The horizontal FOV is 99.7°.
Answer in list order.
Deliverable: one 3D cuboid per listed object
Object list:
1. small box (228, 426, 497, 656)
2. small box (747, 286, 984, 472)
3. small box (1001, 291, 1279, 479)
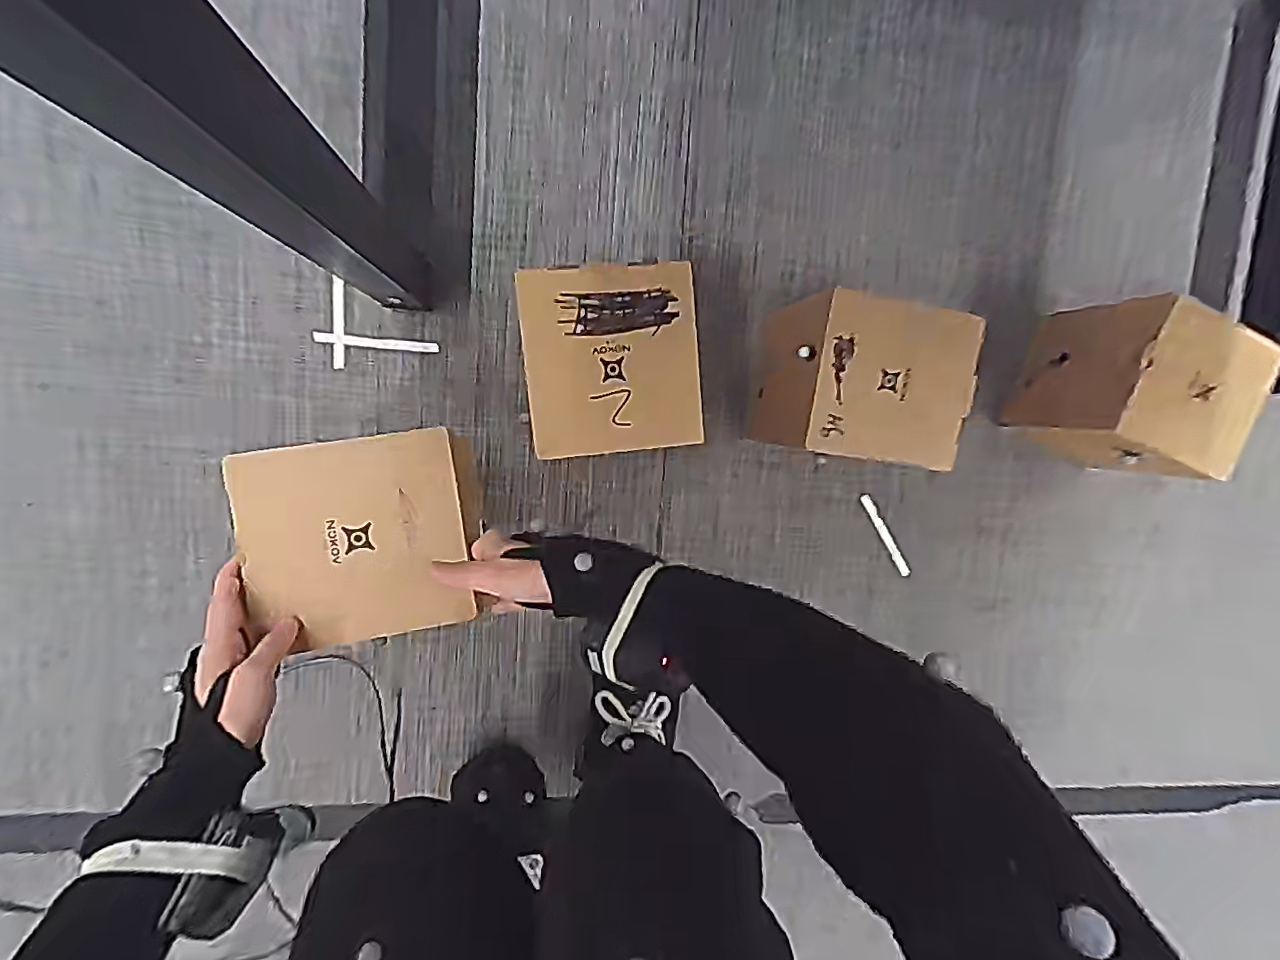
[{"bbox_3d":[-0.245,0.051,0.522,0.179,0.176,0.168,-10,90,-11],"label":"small box"},{"bbox_3d":[0.246,-0.111,0.630,0.179,0.176,0.168,7,96,-10],"label":"small box"},{"bbox_3d":[0.621,-0.116,0.691,0.179,0.176,0.168,20,94,-10],"label":"small box"}]
